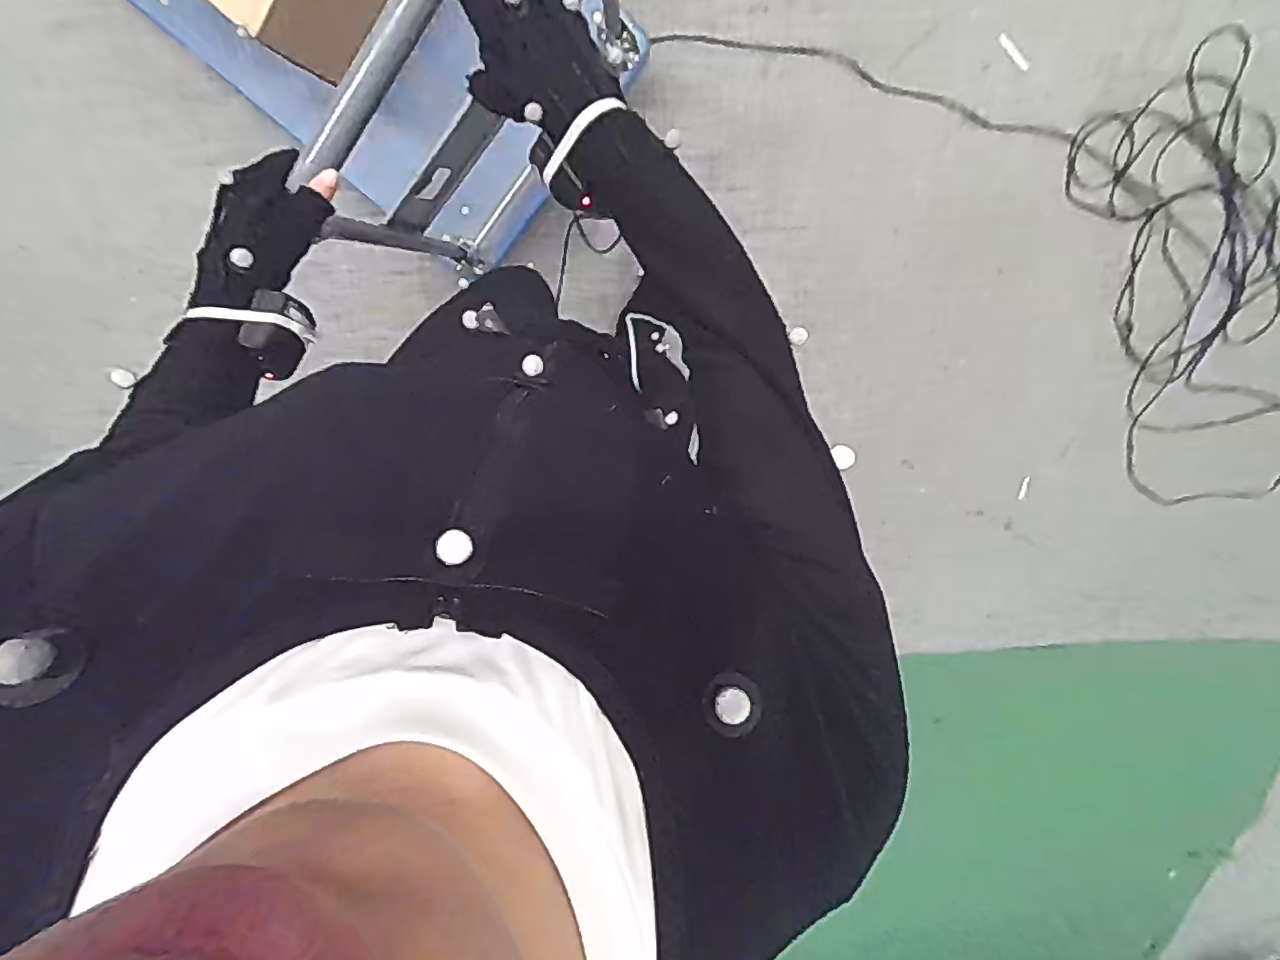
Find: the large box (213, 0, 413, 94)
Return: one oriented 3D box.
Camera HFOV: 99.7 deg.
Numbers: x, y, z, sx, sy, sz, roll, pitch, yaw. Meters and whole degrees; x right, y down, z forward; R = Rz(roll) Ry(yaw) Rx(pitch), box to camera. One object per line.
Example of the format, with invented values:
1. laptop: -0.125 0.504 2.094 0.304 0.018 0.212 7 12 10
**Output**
1. large box: -0.510 -0.892 0.789 0.320 0.320 0.408 37 108 -15
